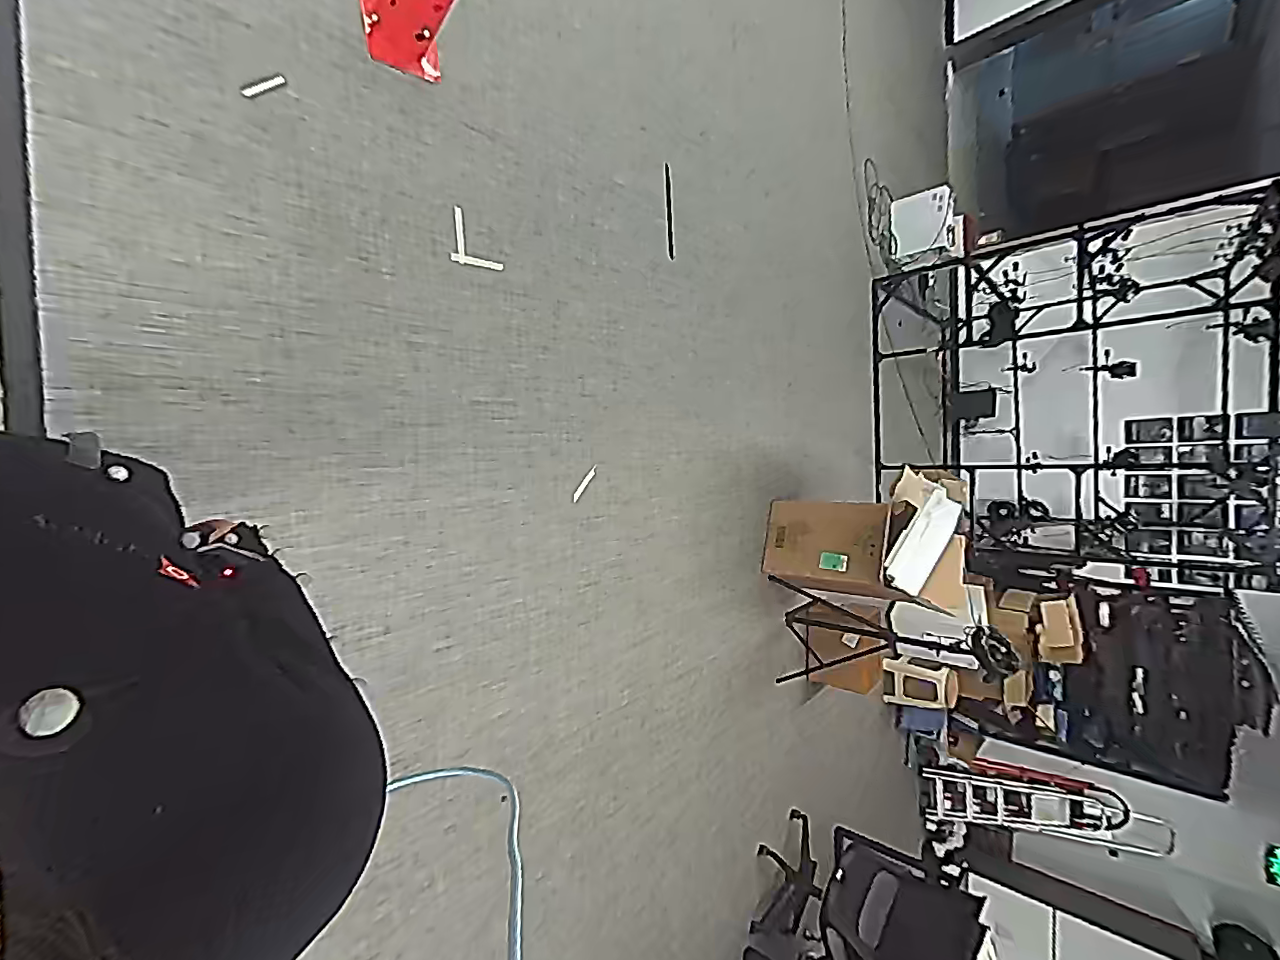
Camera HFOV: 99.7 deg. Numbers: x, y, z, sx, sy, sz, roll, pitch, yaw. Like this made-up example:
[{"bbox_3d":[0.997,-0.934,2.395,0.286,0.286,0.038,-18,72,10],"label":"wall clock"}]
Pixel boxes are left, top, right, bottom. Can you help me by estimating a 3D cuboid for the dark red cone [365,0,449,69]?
[{"bbox_3d":[-0.486,-1.189,1.281,0.201,0.394,0.202,-15,101,-46],"label":"dark red cone"}]
